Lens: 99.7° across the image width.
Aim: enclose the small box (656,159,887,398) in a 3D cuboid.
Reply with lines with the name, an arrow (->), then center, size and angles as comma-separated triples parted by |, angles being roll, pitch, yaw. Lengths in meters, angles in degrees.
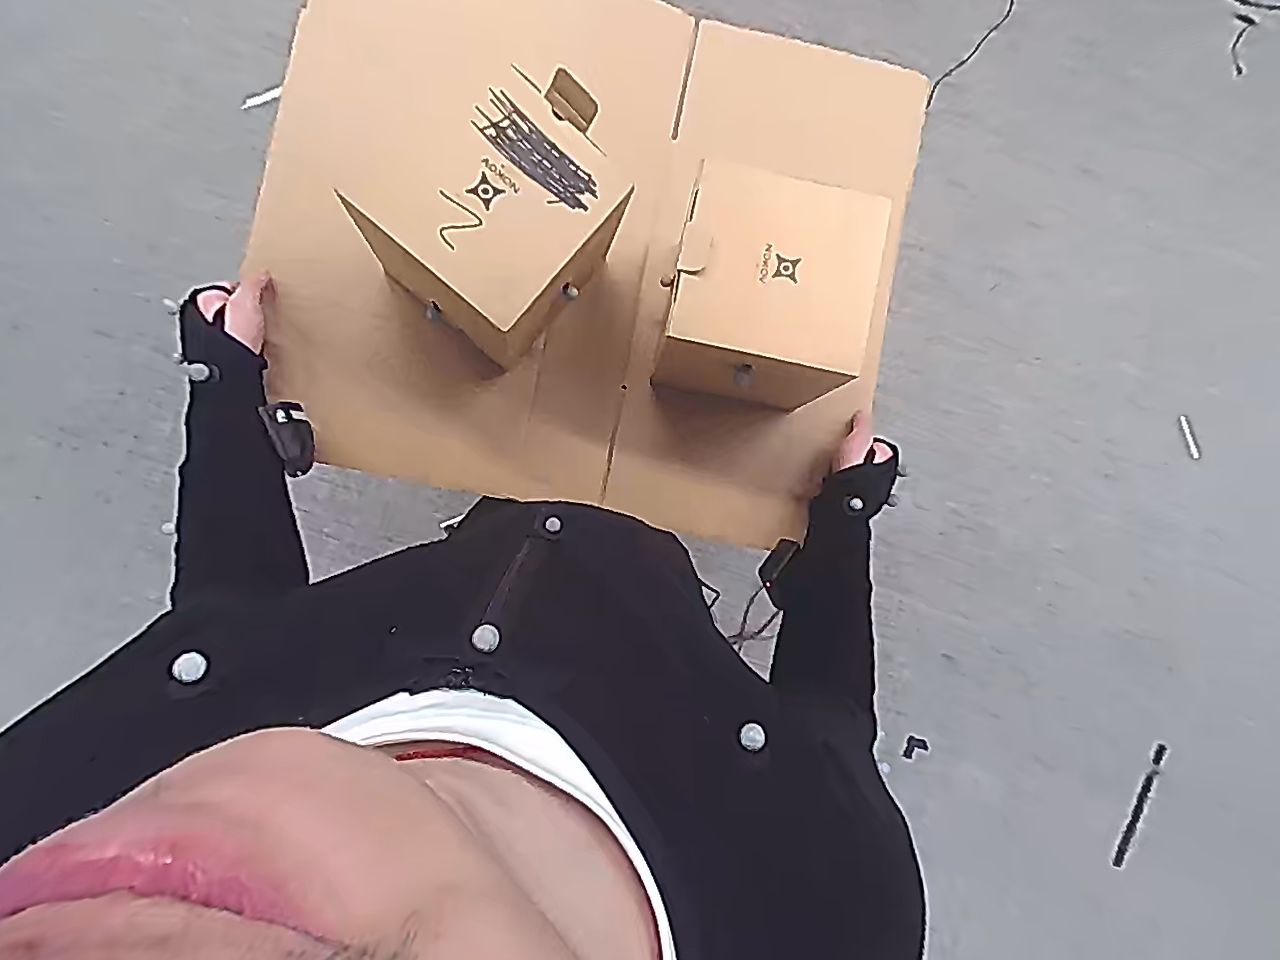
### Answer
small box -> 0.121, -0.190, 0.566 | 0.179, 0.176, 0.168 | 11, 87, -2
